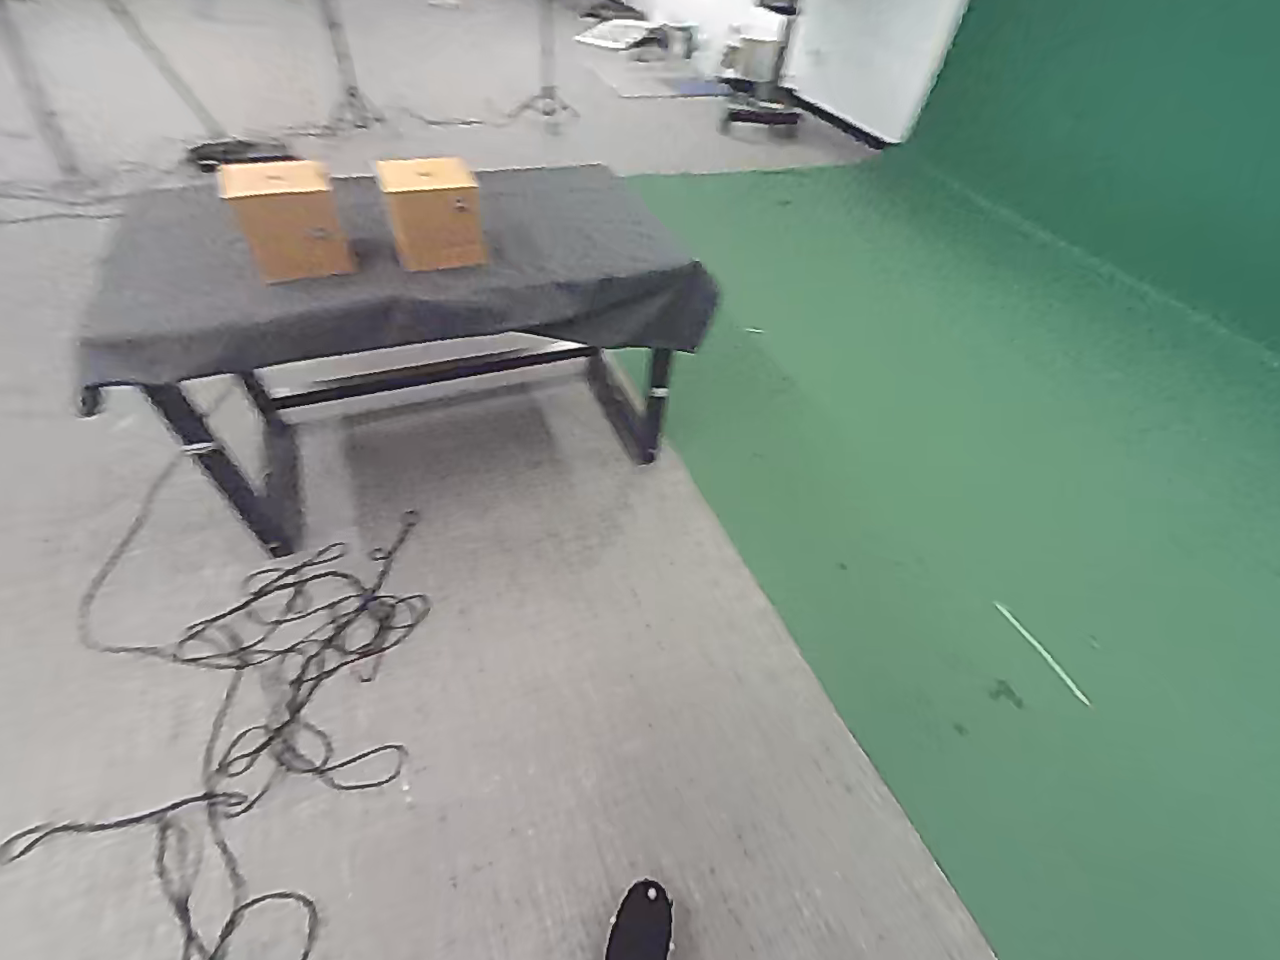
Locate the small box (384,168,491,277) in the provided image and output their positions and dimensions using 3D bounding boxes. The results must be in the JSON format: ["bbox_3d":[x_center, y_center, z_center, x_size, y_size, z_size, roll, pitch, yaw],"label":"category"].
[{"bbox_3d":[-0.438,-0.562,1.185,0.179,0.176,0.168,-16,51,-20],"label":"small box"}]

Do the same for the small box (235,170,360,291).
[{"bbox_3d":[-0.694,-0.512,1.110,0.179,0.176,0.168,-18,51,-20],"label":"small box"}]
